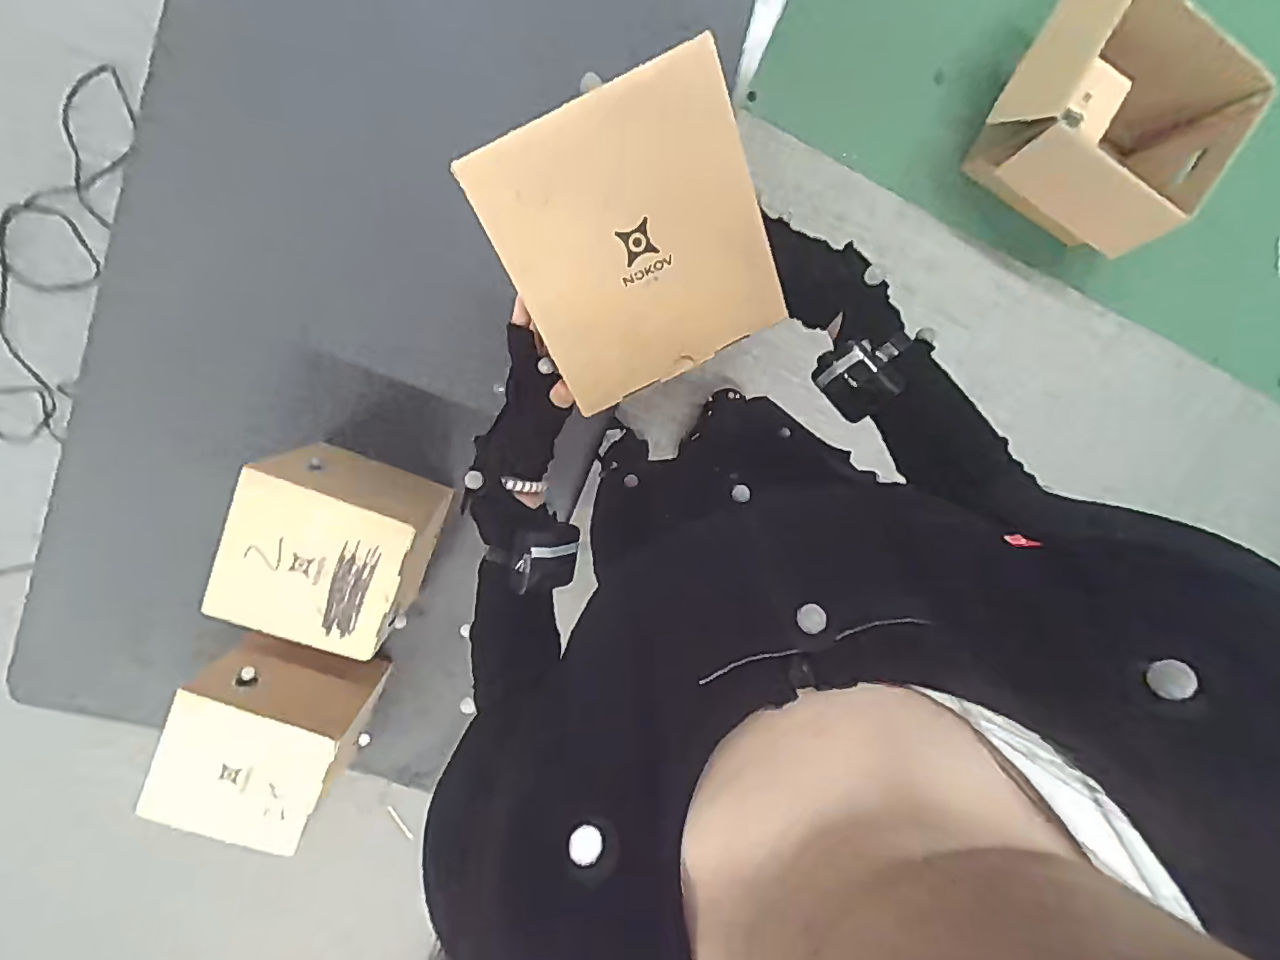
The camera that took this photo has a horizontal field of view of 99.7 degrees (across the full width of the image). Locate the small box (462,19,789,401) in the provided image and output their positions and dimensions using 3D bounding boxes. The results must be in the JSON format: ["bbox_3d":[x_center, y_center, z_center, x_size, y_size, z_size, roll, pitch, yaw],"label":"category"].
[{"bbox_3d":[-0.016,-0.192,0.410,0.168,0.176,0.179,-26,122,0],"label":"small box"}]

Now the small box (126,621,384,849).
[{"bbox_3d":[-0.455,0.299,0.668,0.179,0.176,0.168,24,99,-10],"label":"small box"}]
